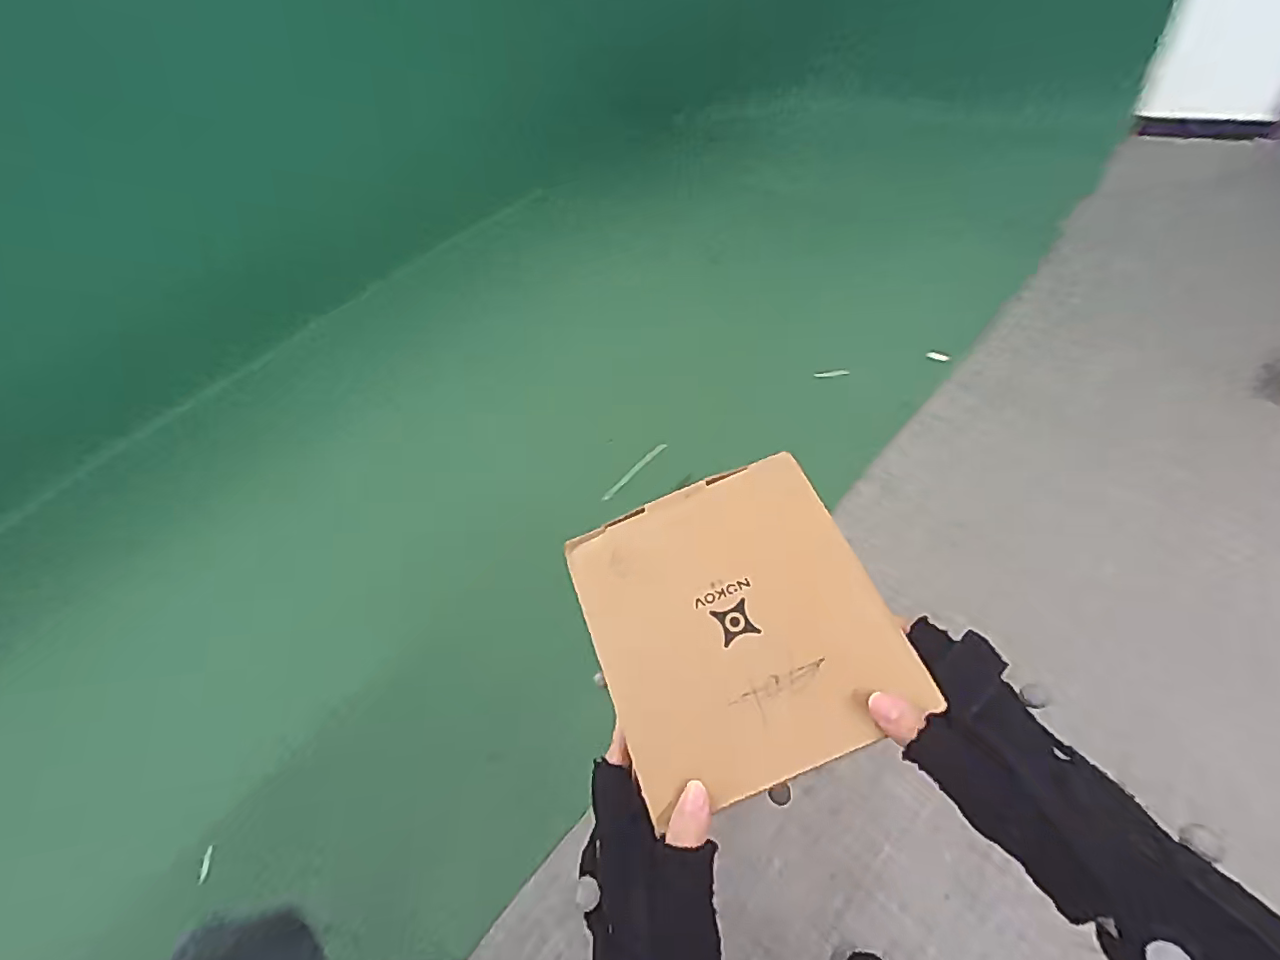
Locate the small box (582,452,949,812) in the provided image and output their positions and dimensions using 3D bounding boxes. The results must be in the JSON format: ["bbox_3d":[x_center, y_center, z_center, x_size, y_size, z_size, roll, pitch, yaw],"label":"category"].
[{"bbox_3d":[0.074,0.114,0.394,0.168,0.176,0.179,-22,61,-1],"label":"small box"}]

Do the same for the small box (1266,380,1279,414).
[{"bbox_3d":[1.904,-0.266,1.488,0.179,0.176,0.168,32,66,35],"label":"small box"}]
